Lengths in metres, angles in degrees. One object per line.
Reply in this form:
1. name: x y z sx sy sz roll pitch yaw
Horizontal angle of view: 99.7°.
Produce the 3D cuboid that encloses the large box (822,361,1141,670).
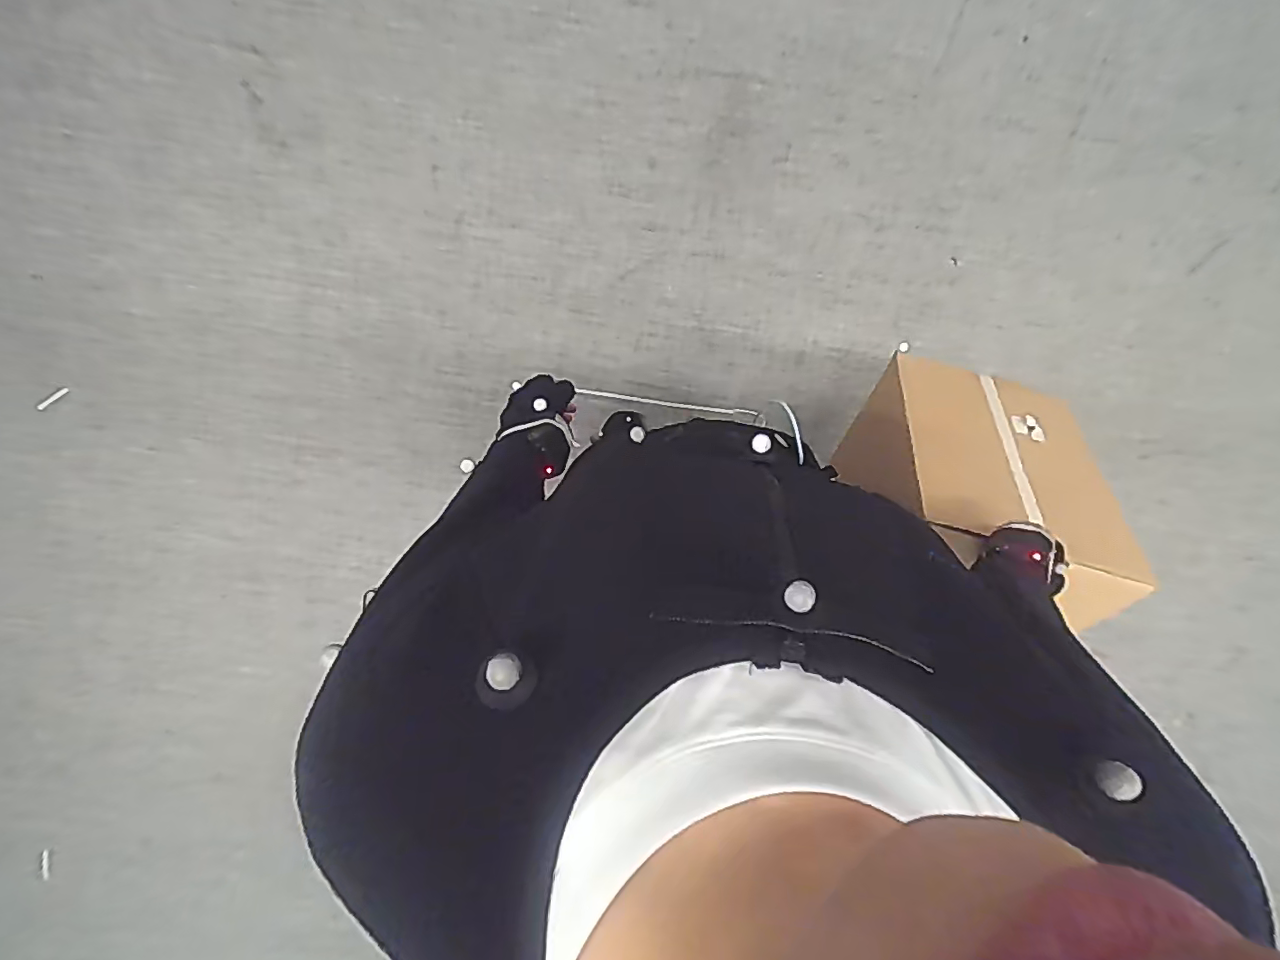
1. large box: 0.533 0.059 0.958 0.320 0.408 0.320 16 137 1
